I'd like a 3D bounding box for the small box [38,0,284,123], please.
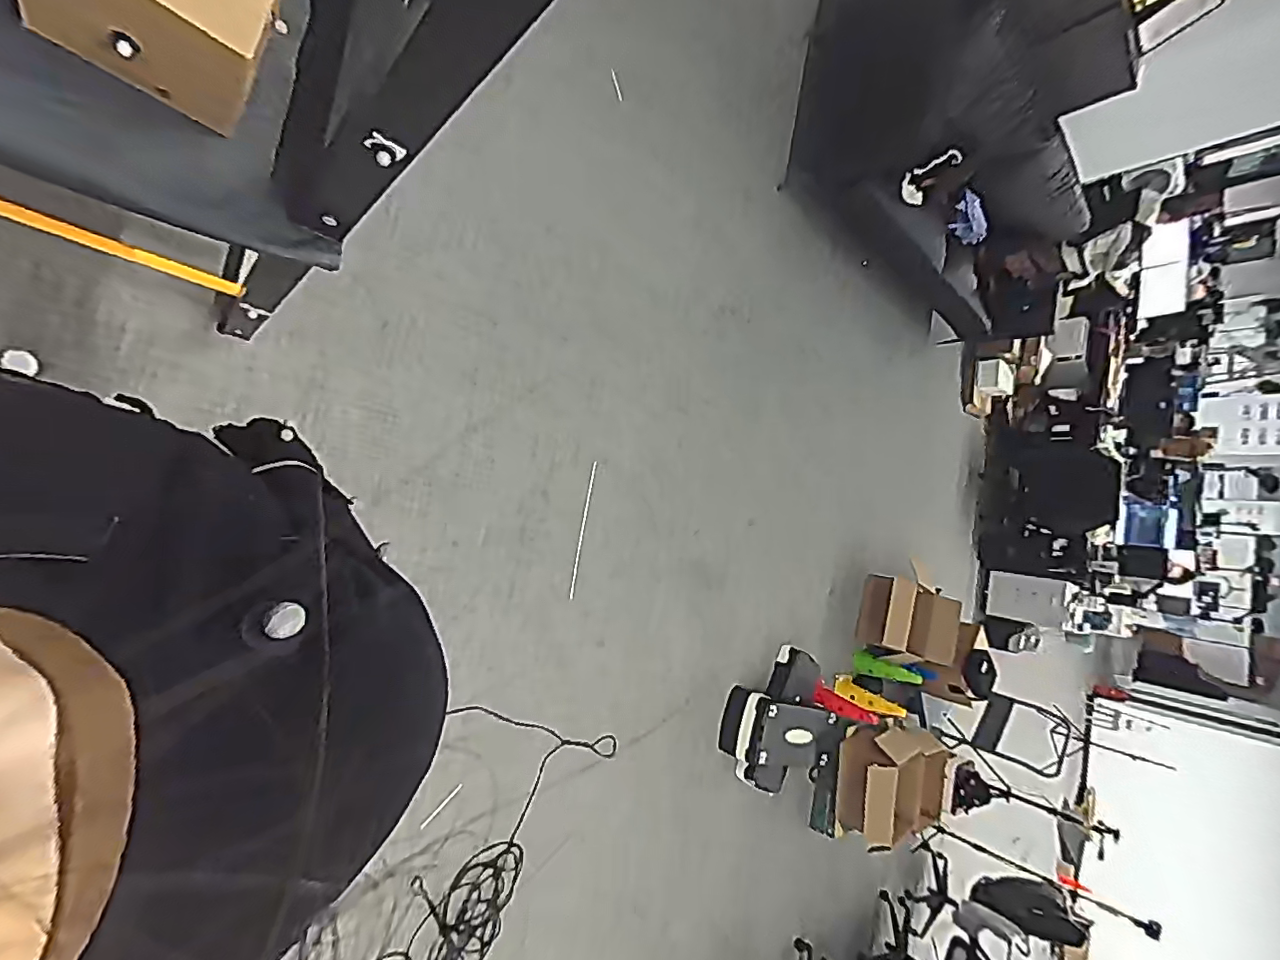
[{"bbox_3d":[-0.451,-0.497,0.519,0.168,0.176,0.179,20,78,-42],"label":"small box"}]
